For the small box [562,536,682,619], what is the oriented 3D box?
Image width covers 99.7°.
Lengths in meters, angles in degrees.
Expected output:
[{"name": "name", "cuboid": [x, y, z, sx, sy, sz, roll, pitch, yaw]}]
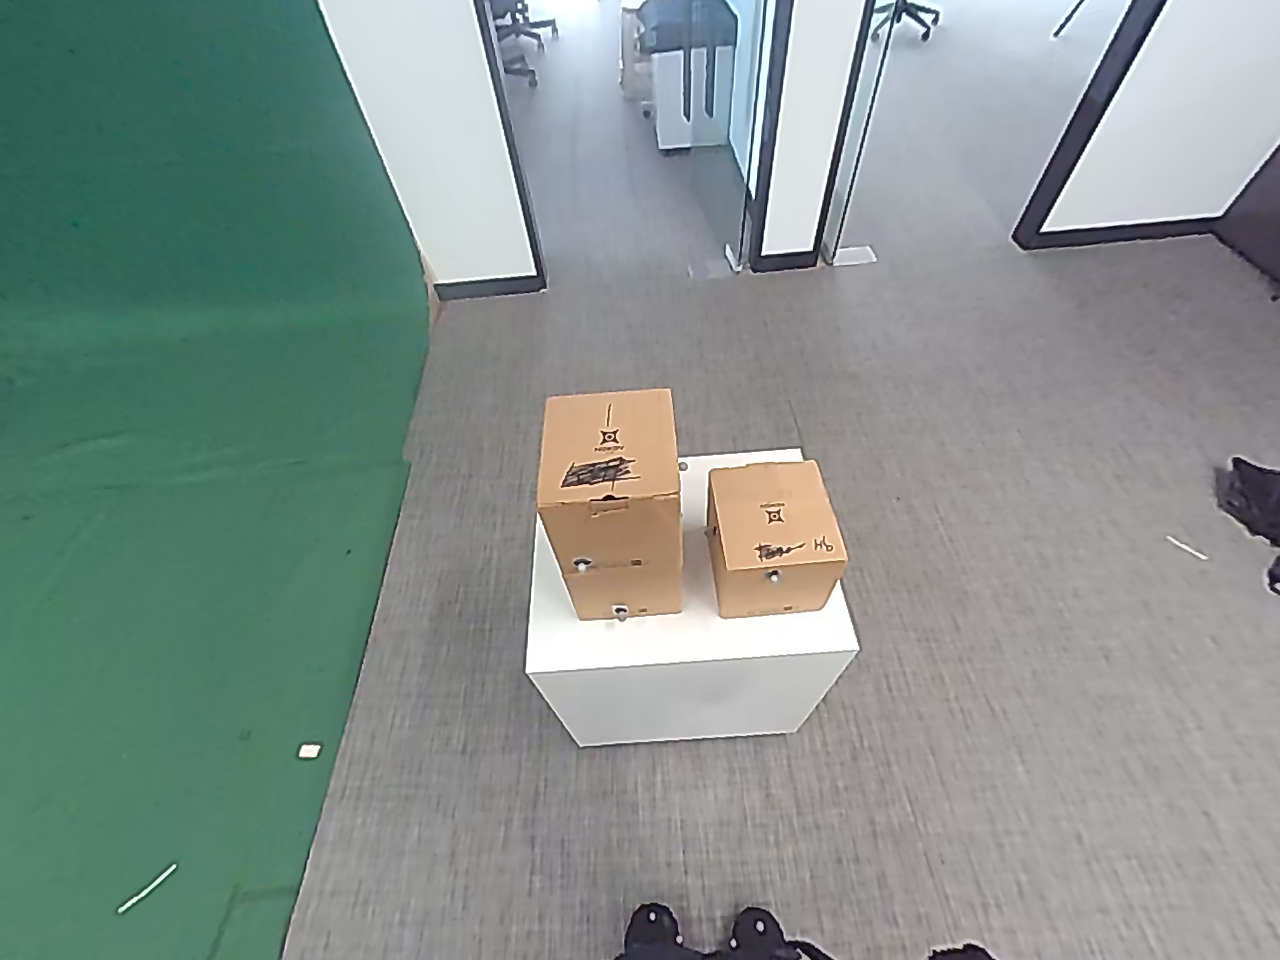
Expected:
[{"name": "small box", "cuboid": [-0.027, 0.098, 0.846, 0.168, 0.176, 0.179, -6, 54, 0]}]

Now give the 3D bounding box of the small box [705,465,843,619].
[{"name": "small box", "cuboid": [0.194, 0.099, 0.845, 0.168, 0.176, 0.179, -4, 52, 1]}]

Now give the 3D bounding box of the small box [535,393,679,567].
[{"name": "small box", "cuboid": [-0.035, 0.008, 0.729, 0.168, 0.176, 0.179, -3, 51, 2]}]
